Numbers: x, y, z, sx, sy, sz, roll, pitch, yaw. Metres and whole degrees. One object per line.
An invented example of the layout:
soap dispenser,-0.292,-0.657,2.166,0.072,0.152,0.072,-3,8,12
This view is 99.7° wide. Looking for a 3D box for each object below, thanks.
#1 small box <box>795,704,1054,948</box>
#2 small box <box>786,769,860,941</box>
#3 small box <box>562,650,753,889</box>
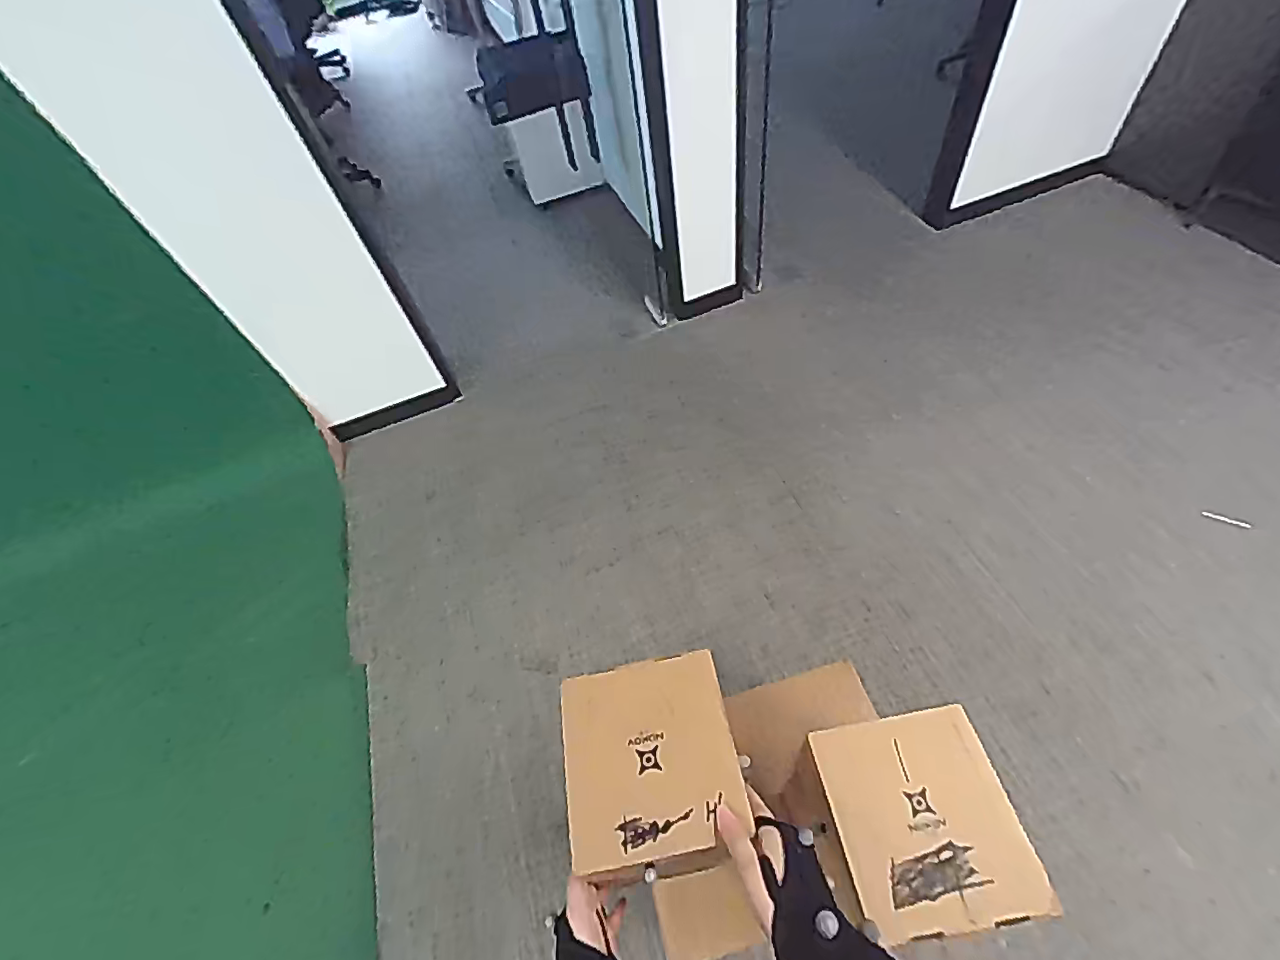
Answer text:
small box,0.274,0.364,0.573,0.168,0.176,0.179,-12,50,1
small box,0.299,0.465,0.702,0.168,0.176,0.179,-15,51,-1
small box,0.019,0.314,0.585,0.168,0.176,0.179,-13,48,2
